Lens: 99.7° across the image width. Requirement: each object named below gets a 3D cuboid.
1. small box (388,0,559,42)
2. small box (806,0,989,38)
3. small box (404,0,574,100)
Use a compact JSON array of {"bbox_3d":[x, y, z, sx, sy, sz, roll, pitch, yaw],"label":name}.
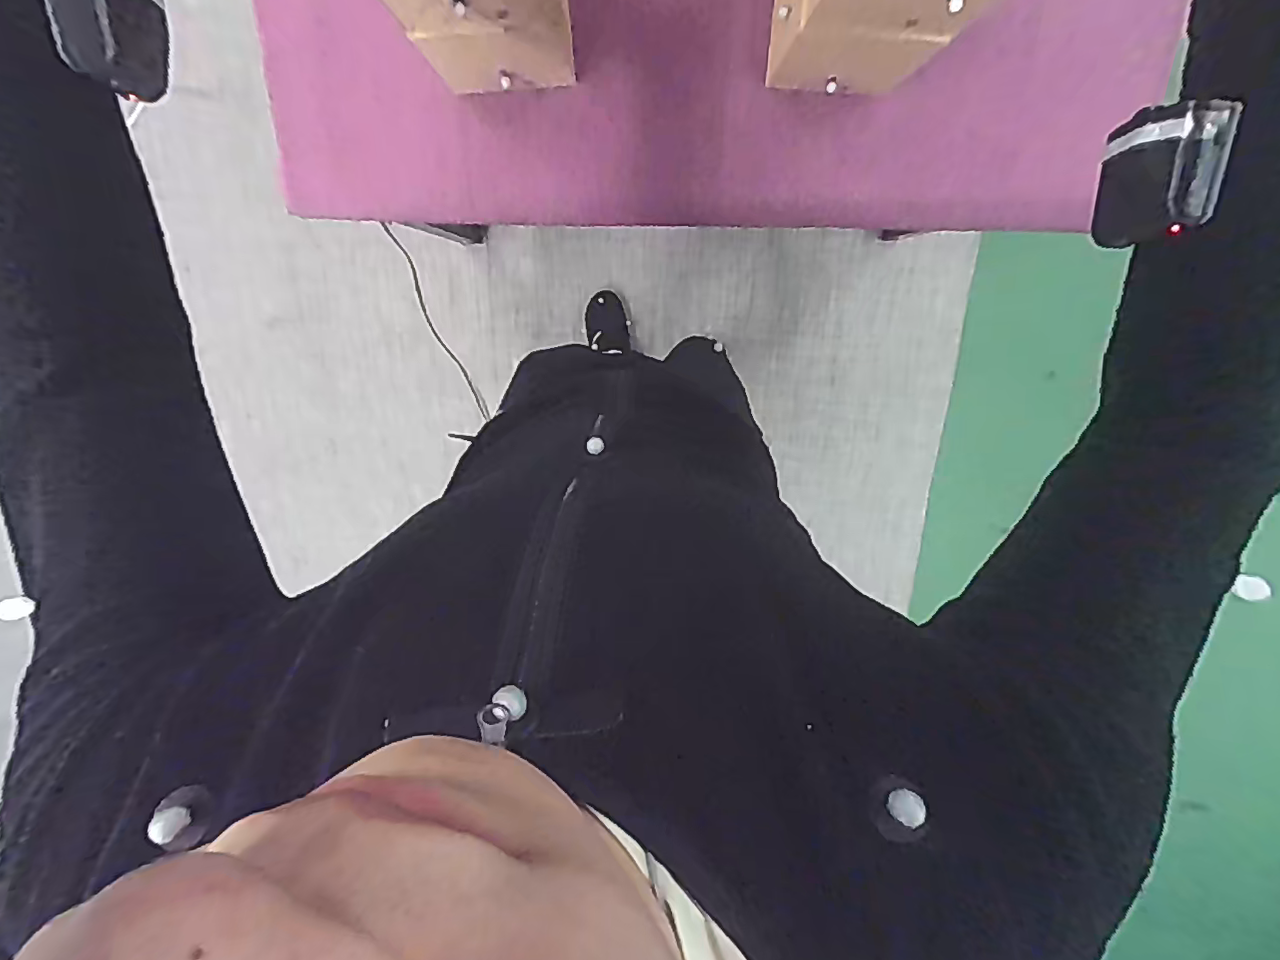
[{"bbox_3d":[-0.171,-0.533,0.474,0.168,0.176,0.179,-6,108,1],"label":"small box"},{"bbox_3d":[0.256,-0.528,0.474,0.168,0.176,0.179,3,108,-1],"label":"small box"},{"bbox_3d":[-0.173,-0.579,0.630,0.168,0.176,0.179,-4,108,2],"label":"small box"}]
